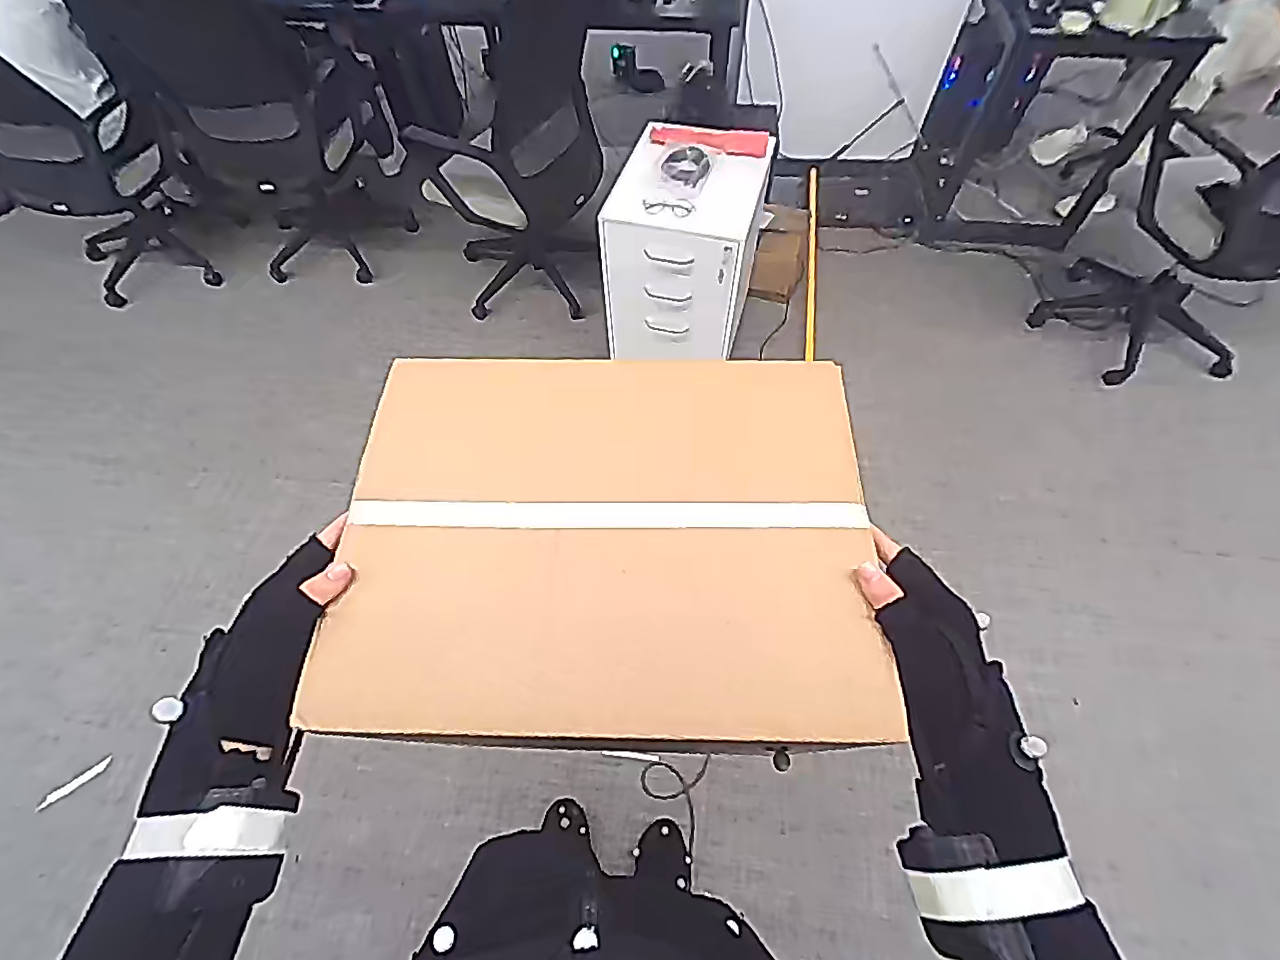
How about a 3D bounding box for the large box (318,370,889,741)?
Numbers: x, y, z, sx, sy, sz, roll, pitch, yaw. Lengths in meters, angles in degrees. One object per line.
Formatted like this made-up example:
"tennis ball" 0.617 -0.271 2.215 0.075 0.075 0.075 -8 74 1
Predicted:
"large box" -0.022 0.103 0.570 0.408 0.320 0.320 0 62 2
